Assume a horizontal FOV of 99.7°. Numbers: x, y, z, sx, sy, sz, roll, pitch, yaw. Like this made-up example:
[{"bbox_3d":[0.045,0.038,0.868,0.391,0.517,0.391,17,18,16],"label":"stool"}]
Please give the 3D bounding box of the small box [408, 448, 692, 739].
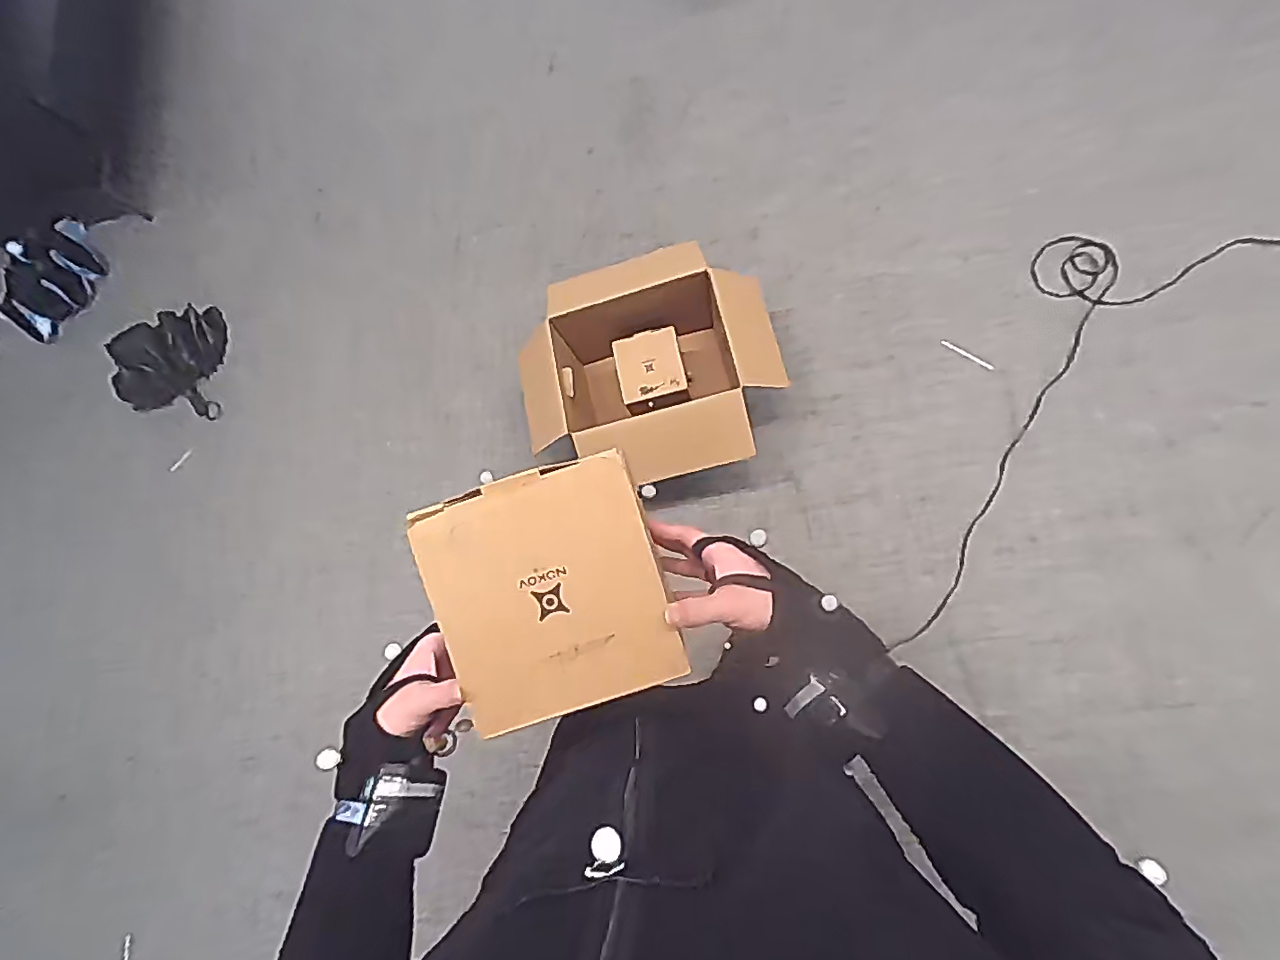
[{"bbox_3d":[-0.065,0.079,0.468,0.168,0.176,0.179,-18,94,1],"label":"small box"}]
